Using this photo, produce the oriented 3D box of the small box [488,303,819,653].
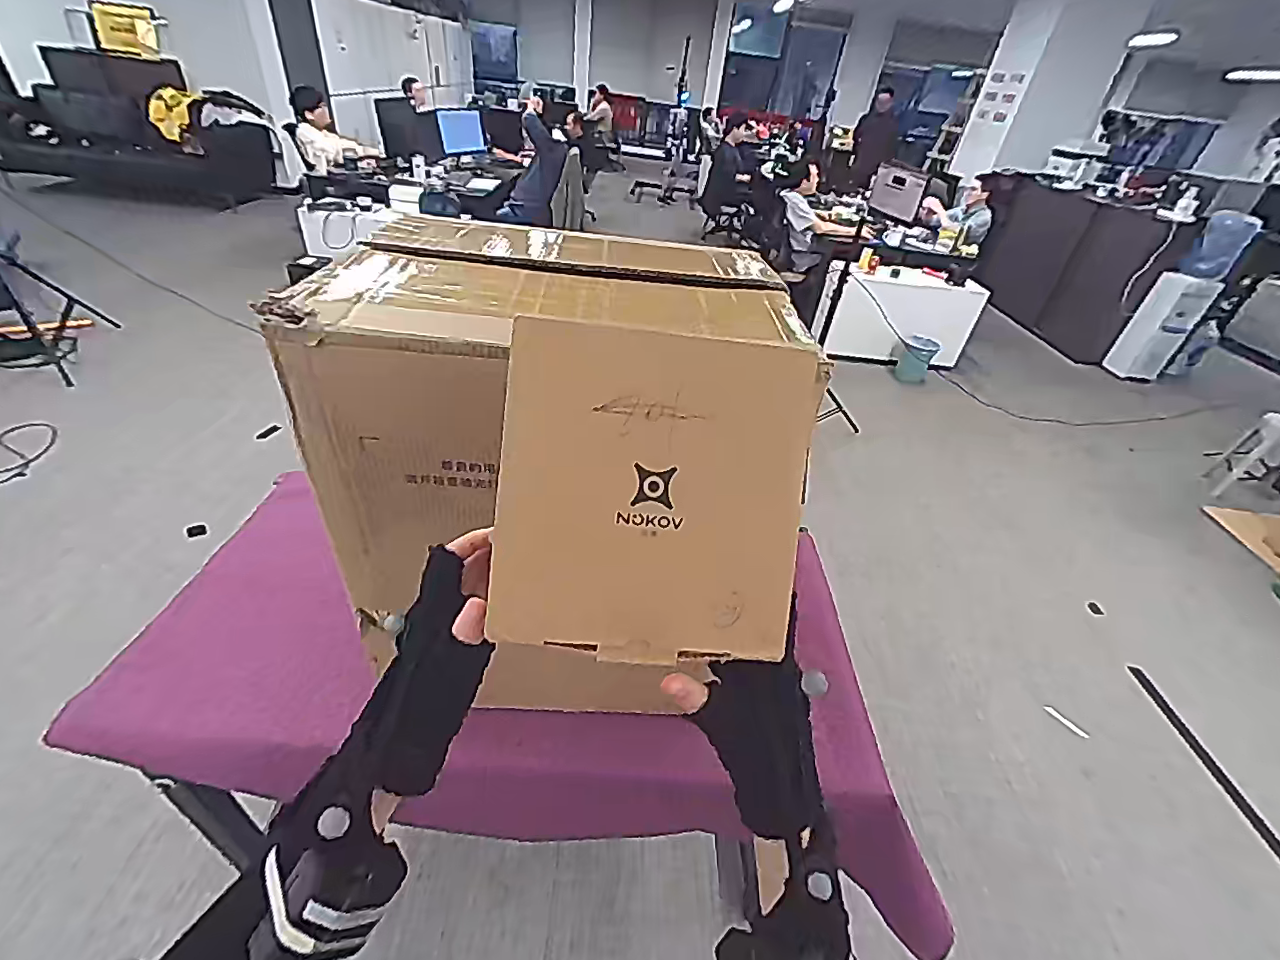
[{"bbox_3d":[0.002,0.000,0.367,0.168,0.179,0.176,5,0,-6],"label":"small box"}]
